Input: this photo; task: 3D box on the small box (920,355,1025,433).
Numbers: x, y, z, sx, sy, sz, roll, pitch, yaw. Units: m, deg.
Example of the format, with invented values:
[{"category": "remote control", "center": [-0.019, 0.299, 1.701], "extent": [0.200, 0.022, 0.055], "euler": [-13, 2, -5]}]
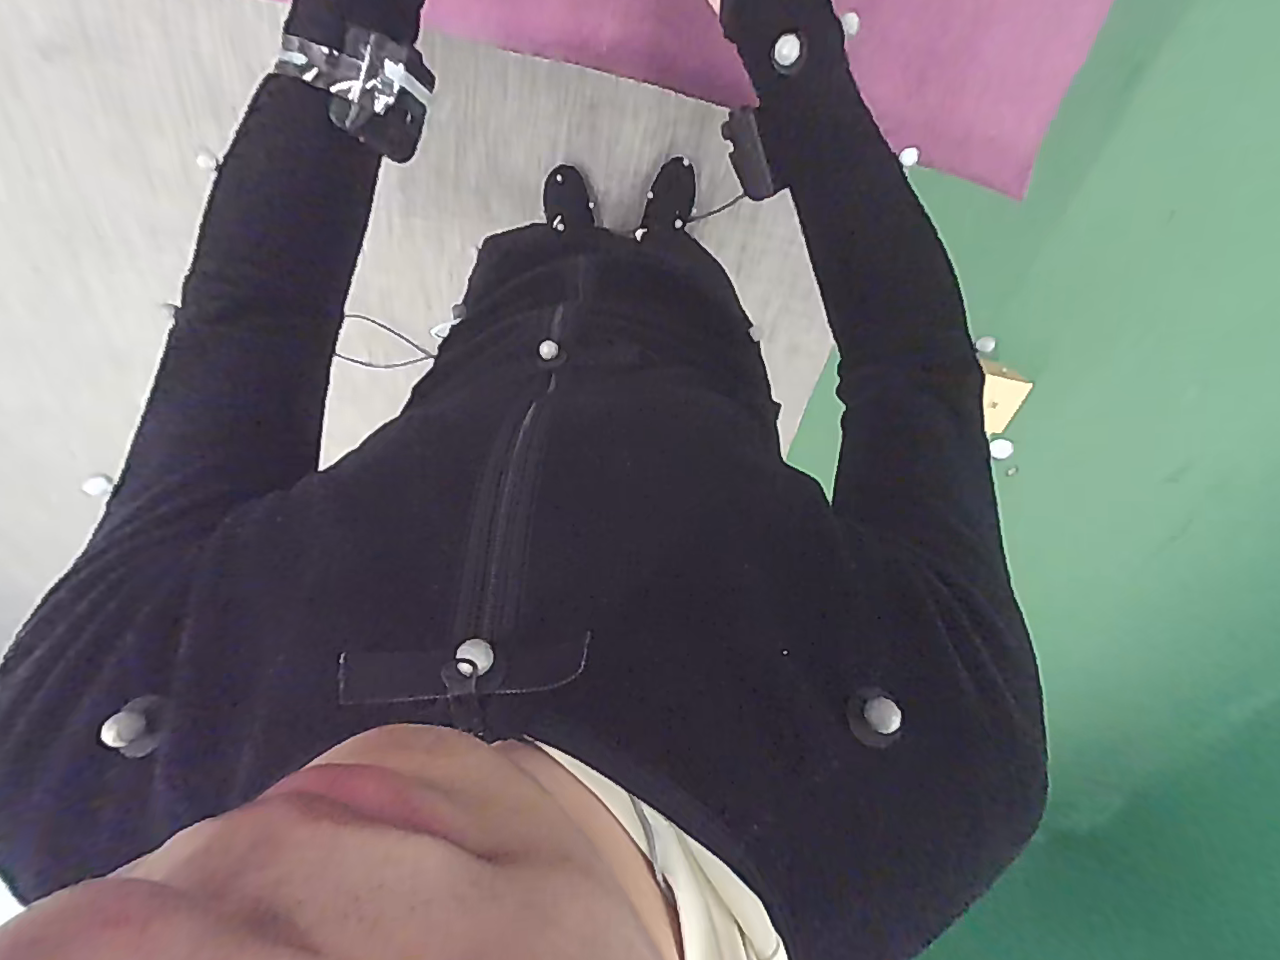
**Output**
[{"category": "small box", "center": [1.002, -0.266, 1.645], "extent": [0.179, 0.176, 0.168], "euler": [9, 122, -11]}]
